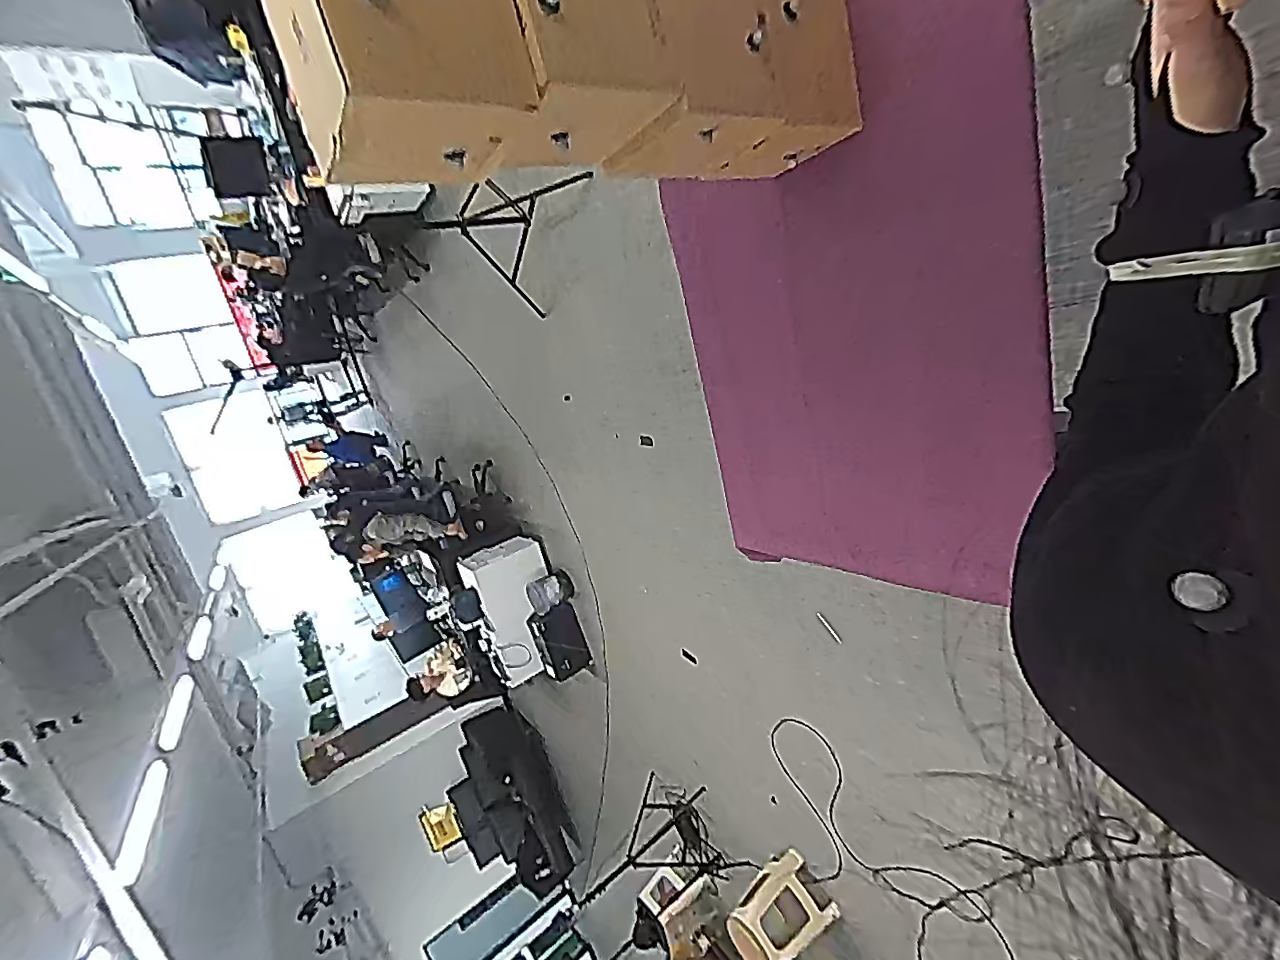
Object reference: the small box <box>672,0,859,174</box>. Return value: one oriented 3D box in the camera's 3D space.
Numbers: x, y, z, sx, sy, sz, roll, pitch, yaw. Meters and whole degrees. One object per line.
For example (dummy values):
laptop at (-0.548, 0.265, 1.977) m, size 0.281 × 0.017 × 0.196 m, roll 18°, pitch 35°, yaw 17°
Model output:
small box at (0.175, -0.548, 0.747) m, size 0.168 × 0.176 × 0.179 m, roll 5°, pitch 114°, yaw 56°

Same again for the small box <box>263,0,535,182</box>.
small box at (-0.221, -0.399, 0.499) m, size 0.168 × 0.176 × 0.179 m, roll 3°, pitch 112°, yaw 56°

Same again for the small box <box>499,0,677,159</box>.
small box at (-0.088, -0.458, 0.572) m, size 0.179 × 0.176 × 0.168 m, roll 4°, pitch 113°, yaw 56°
